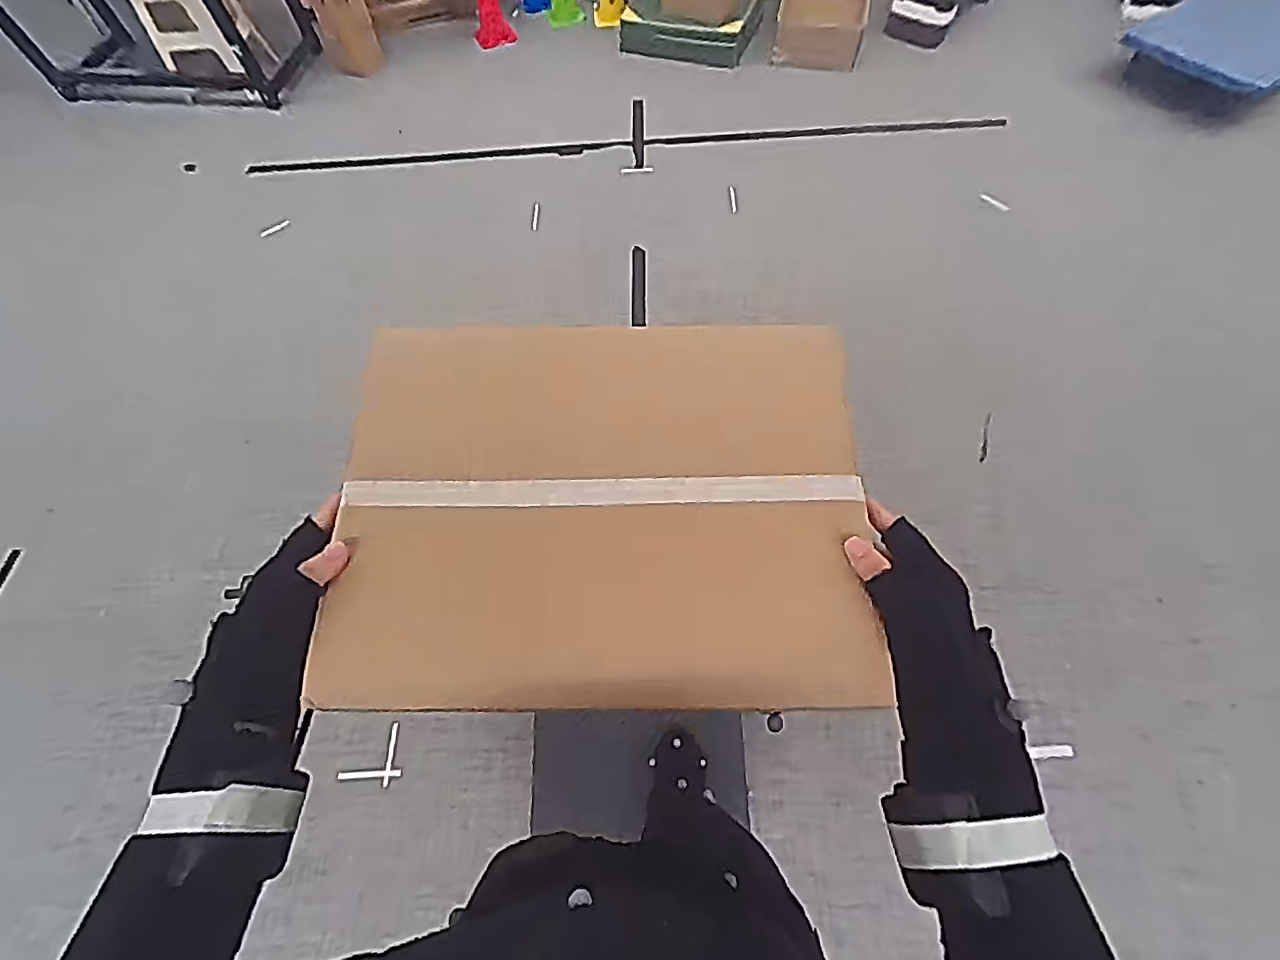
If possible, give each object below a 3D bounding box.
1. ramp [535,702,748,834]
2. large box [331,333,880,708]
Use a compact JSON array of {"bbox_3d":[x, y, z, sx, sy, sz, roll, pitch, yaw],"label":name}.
[{"bbox_3d":[-0.007,0.318,1.362,0.509,0.206,0.991,-3,63,0],"label":"ramp"},{"bbox_3d":[-0.024,0.066,0.577,0.408,0.320,0.320,-1,68,1],"label":"large box"}]
